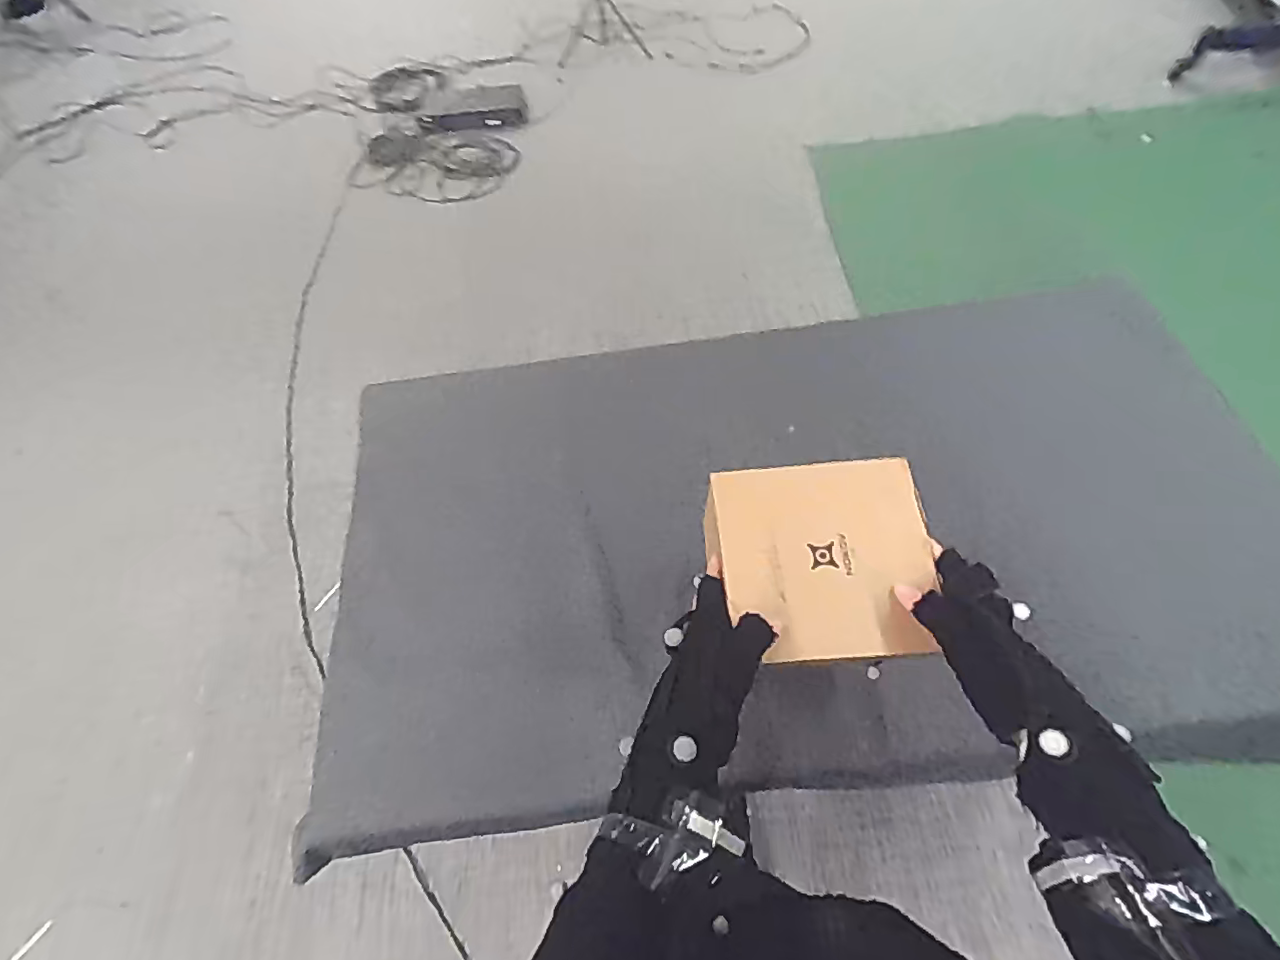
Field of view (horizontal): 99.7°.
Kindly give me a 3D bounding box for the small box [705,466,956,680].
[{"bbox_3d":[0.162,0.100,0.529,0.179,0.176,0.168,-5,66,2],"label":"small box"}]
